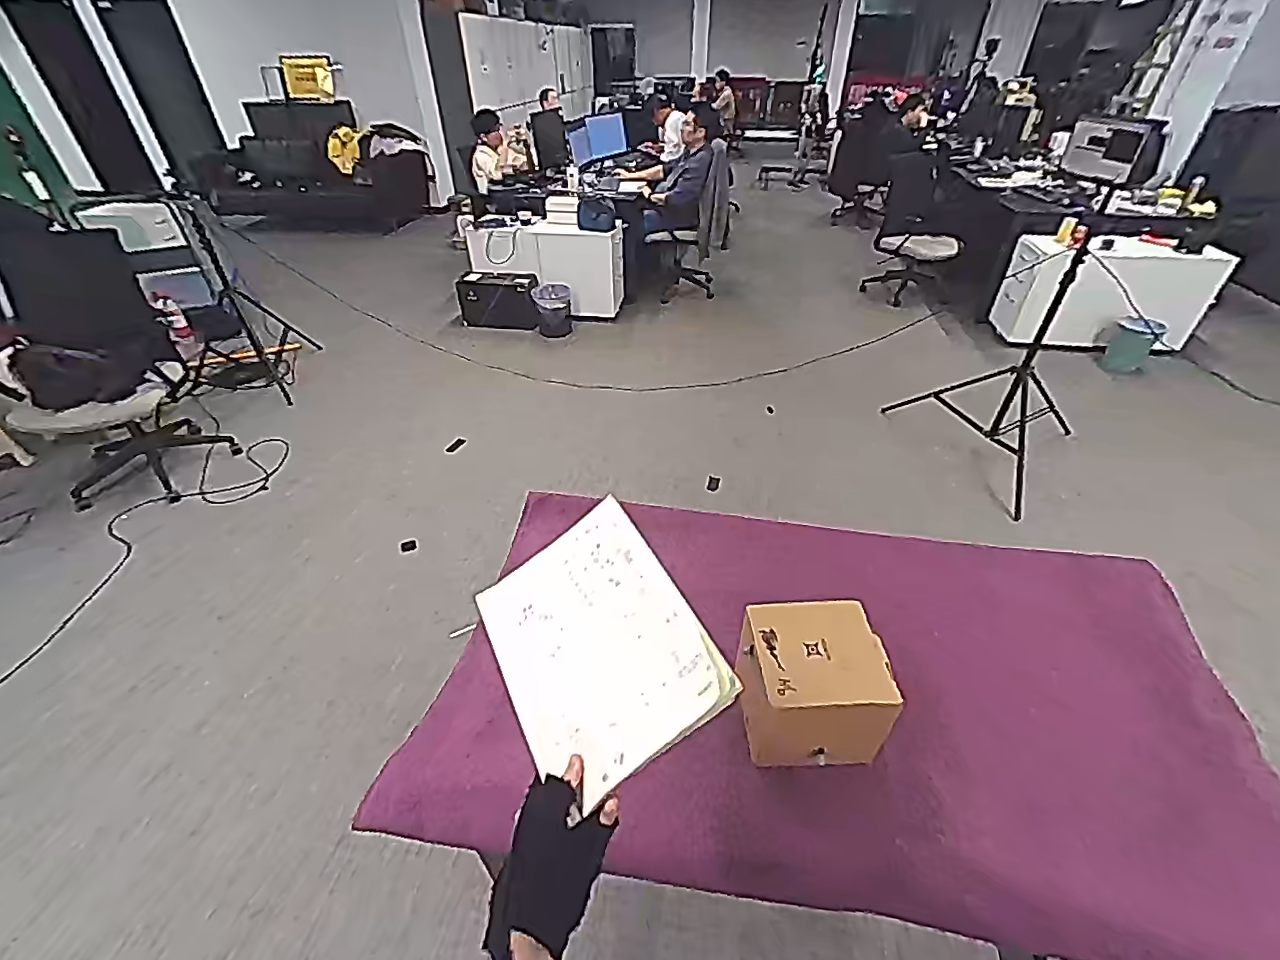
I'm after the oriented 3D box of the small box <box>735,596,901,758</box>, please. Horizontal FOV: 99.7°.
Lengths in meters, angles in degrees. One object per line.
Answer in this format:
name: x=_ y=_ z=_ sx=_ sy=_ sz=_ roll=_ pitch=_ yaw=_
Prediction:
small box: x=0.247 y=0.290 z=0.799 sx=0.179 sy=0.176 sz=0.168 roll=-1 pitch=38 yaw=-1
